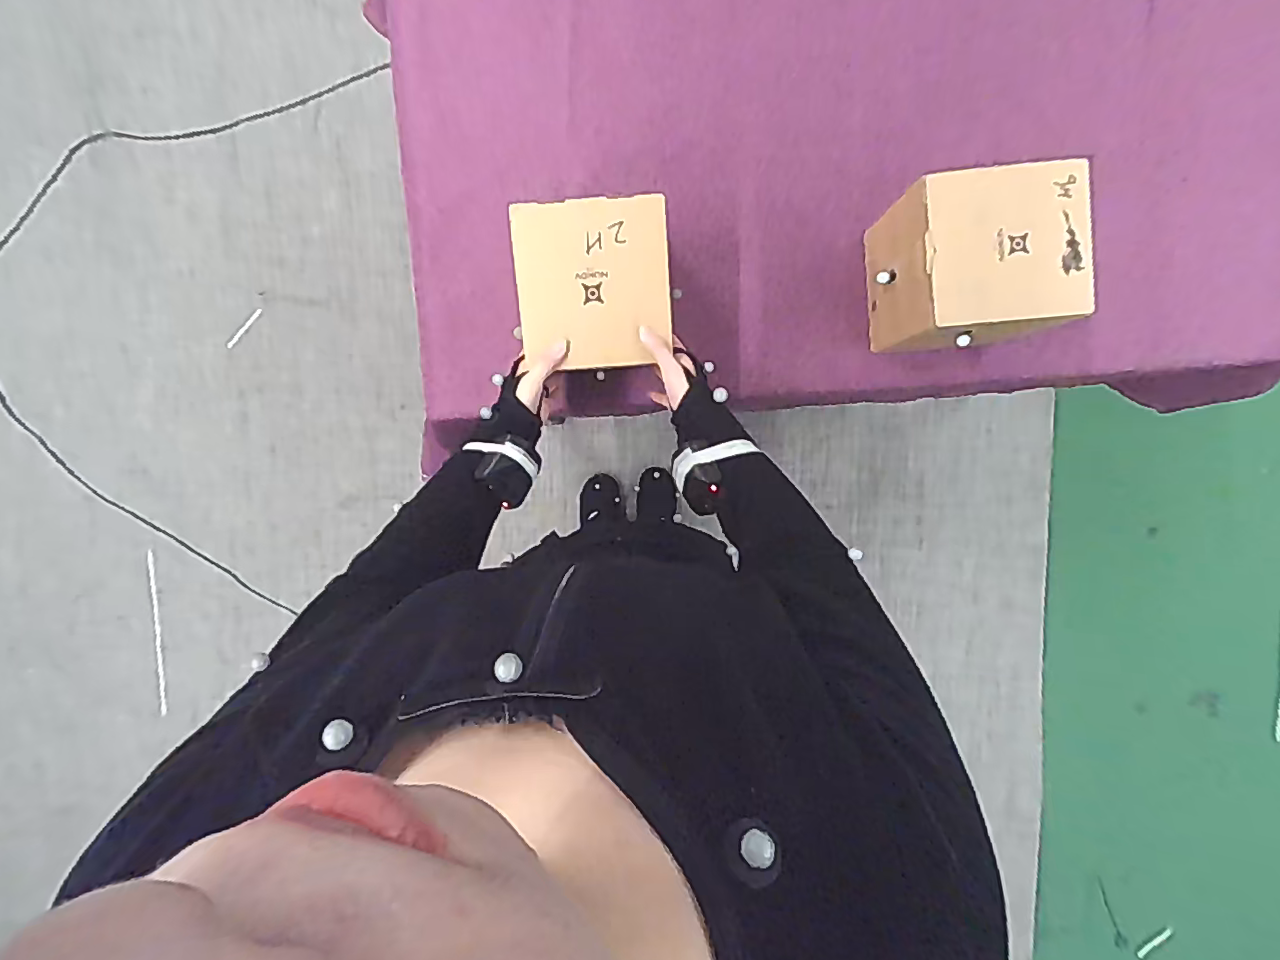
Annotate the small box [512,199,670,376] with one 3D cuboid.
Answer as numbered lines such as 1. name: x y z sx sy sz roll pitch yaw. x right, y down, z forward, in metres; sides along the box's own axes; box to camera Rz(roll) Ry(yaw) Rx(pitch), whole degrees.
1. small box: -0.049 -0.222 0.660 0.168 0.176 0.179 -3 102 1

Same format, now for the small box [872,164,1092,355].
1. small box: 0.396 -0.252 0.659 0.179 0.176 0.168 -4 93 2
